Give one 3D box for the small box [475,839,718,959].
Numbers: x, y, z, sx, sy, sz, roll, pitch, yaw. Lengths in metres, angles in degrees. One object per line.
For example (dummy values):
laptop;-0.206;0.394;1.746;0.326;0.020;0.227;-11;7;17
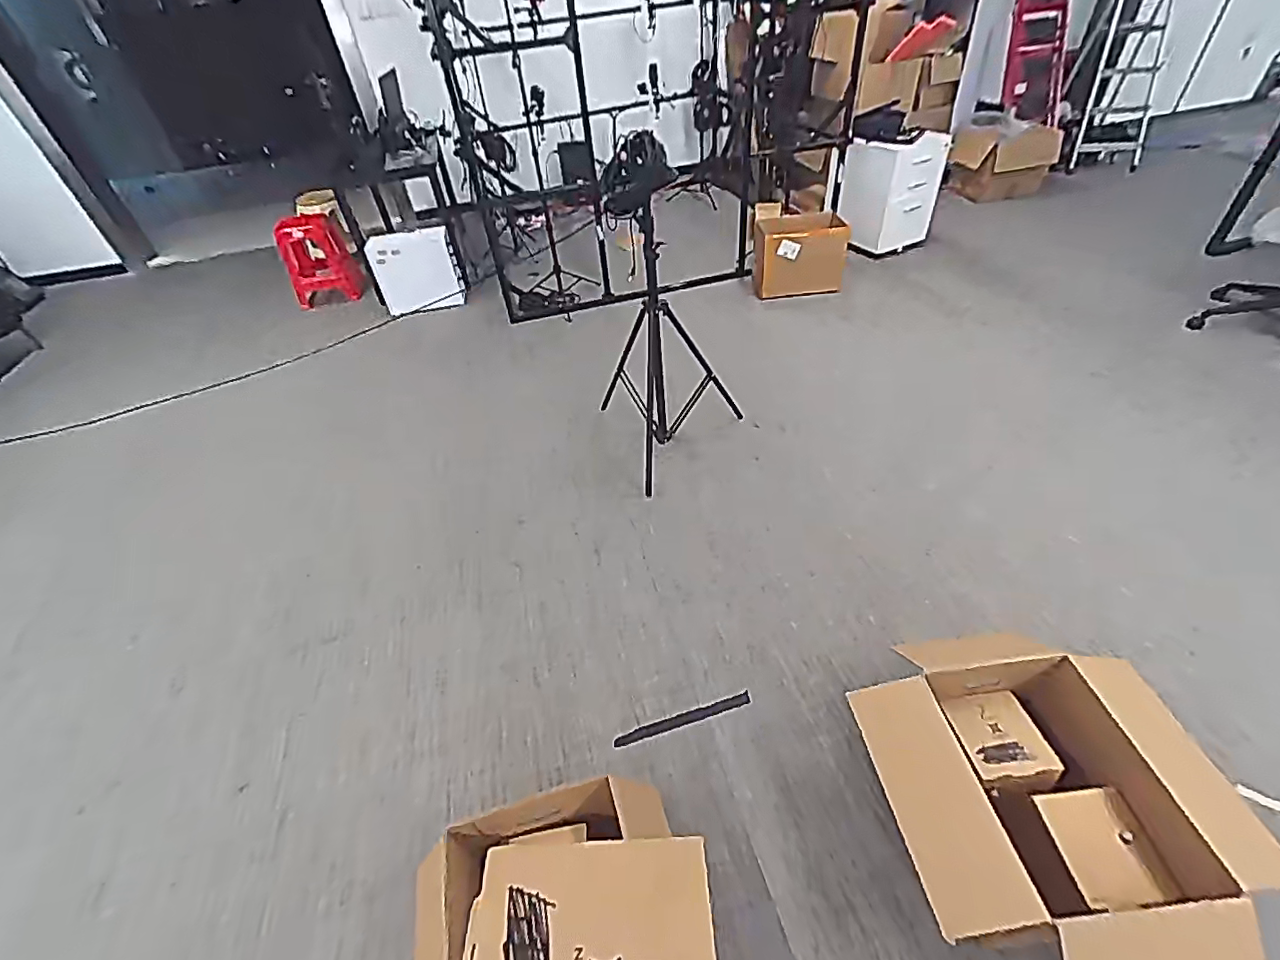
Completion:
small box;-0.028;0.407;0.425;0.179;0.176;0.168;-3;41;0
